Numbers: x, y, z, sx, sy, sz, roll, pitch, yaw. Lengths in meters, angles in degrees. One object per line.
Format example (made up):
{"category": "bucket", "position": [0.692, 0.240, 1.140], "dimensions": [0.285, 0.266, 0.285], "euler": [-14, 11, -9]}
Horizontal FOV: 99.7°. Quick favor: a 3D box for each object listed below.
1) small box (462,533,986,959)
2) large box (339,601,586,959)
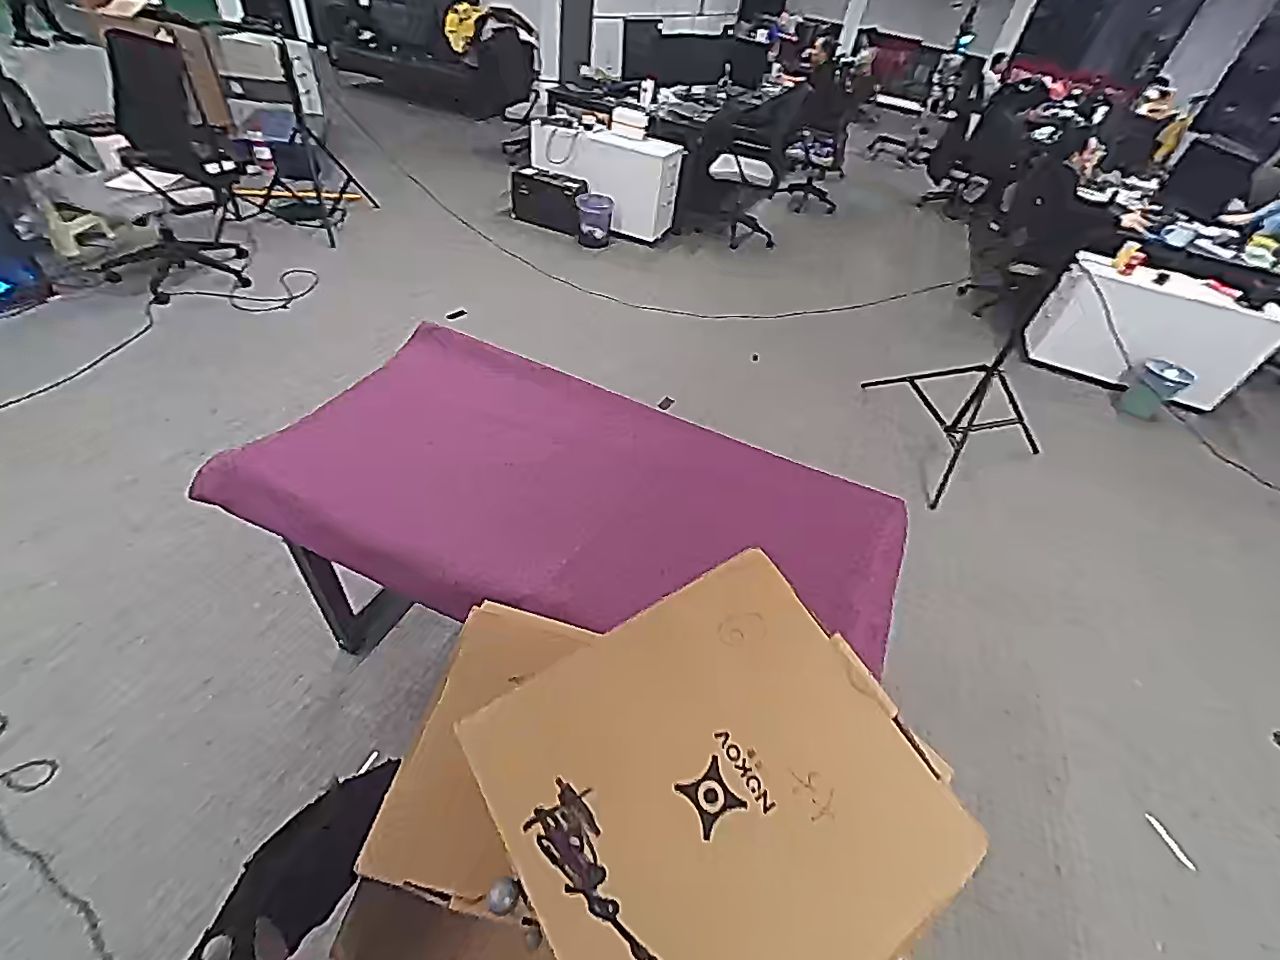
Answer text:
{"category": "small box", "position": [0.024, 0.163, 0.294], "dimensions": [0.179, 0.176, 0.168], "euler": [-25, 64, -25]}
{"category": "large box", "position": [-0.044, 0.389, 0.628], "dimensions": [0.408, 0.320, 0.320], "euler": [16, 52, -1]}
